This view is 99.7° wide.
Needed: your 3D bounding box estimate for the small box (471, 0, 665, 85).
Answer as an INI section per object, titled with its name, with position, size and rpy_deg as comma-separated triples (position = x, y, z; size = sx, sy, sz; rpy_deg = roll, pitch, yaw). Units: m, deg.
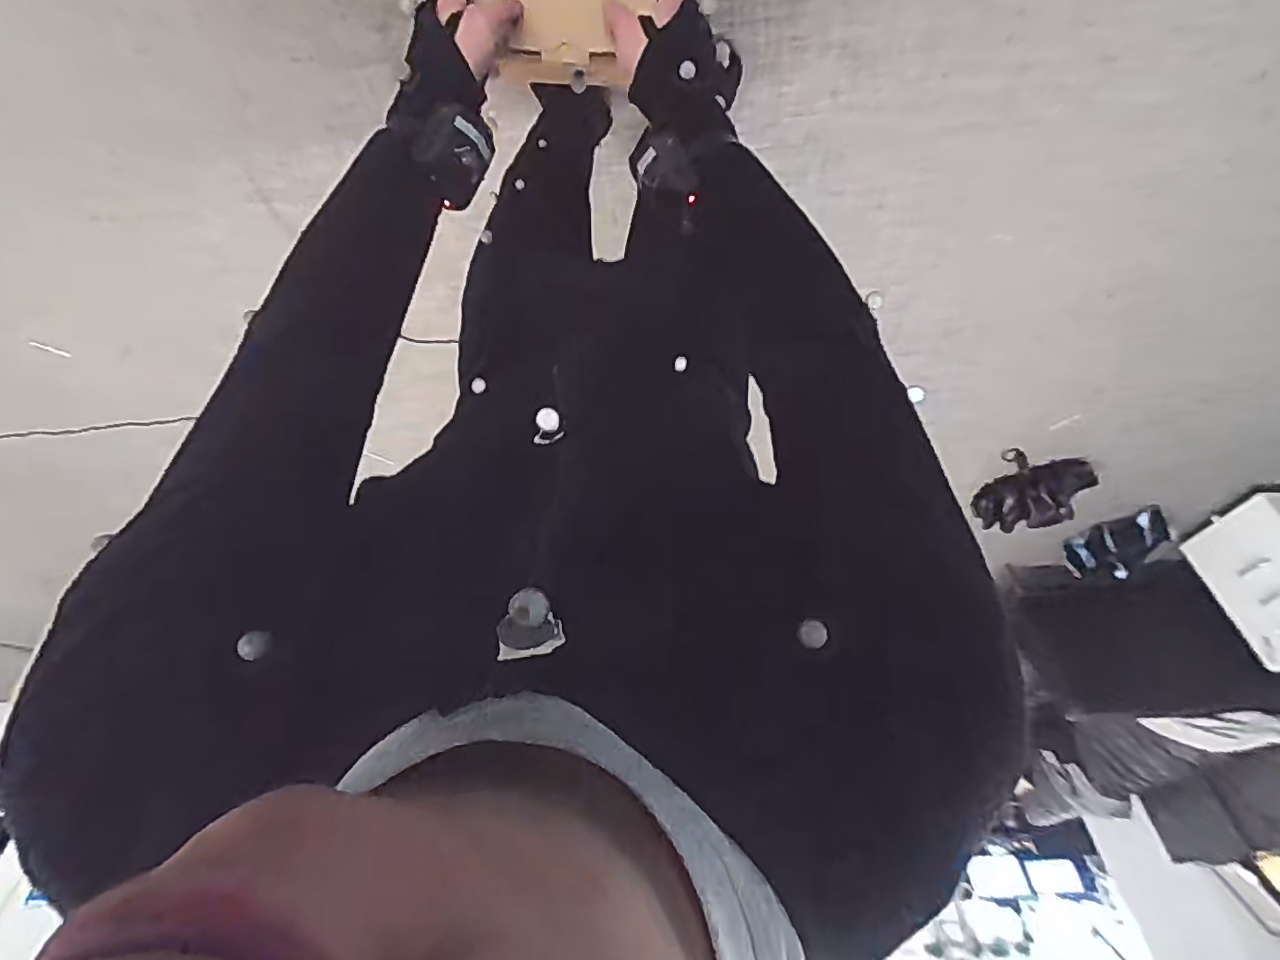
[small box]
position = -0.060, -0.490, 0.513
size = 0.168, 0.176, 0.179
rpy_deg = 2, 120, 2
